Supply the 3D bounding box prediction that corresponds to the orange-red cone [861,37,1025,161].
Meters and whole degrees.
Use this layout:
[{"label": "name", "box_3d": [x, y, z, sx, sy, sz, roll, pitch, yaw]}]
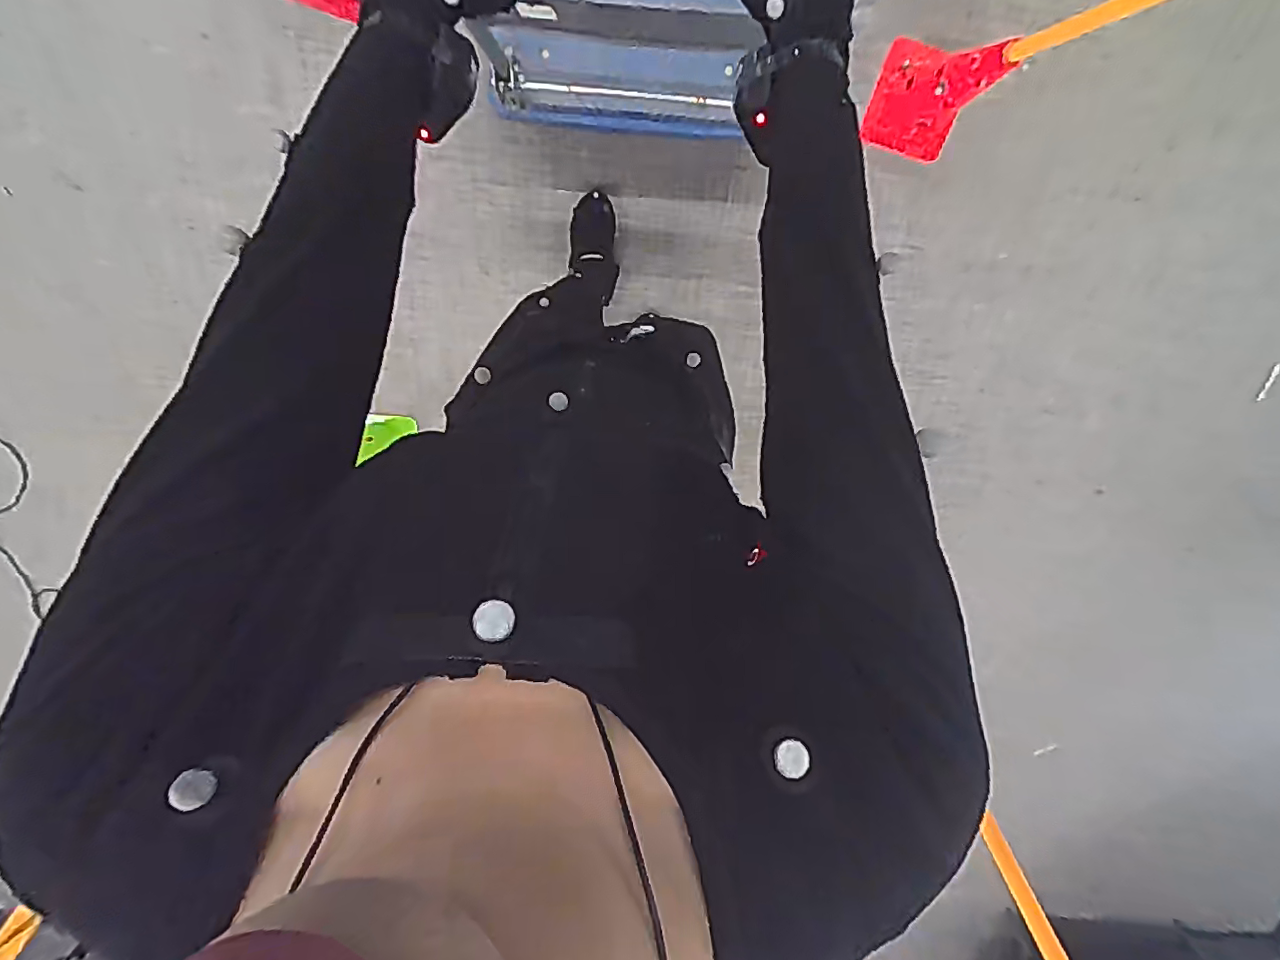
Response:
[{"label": "orange-red cone", "box_3d": [0.615, -0.773, 1.046, 0.198, 0.360, 0.199, 16, 113, -6]}]
